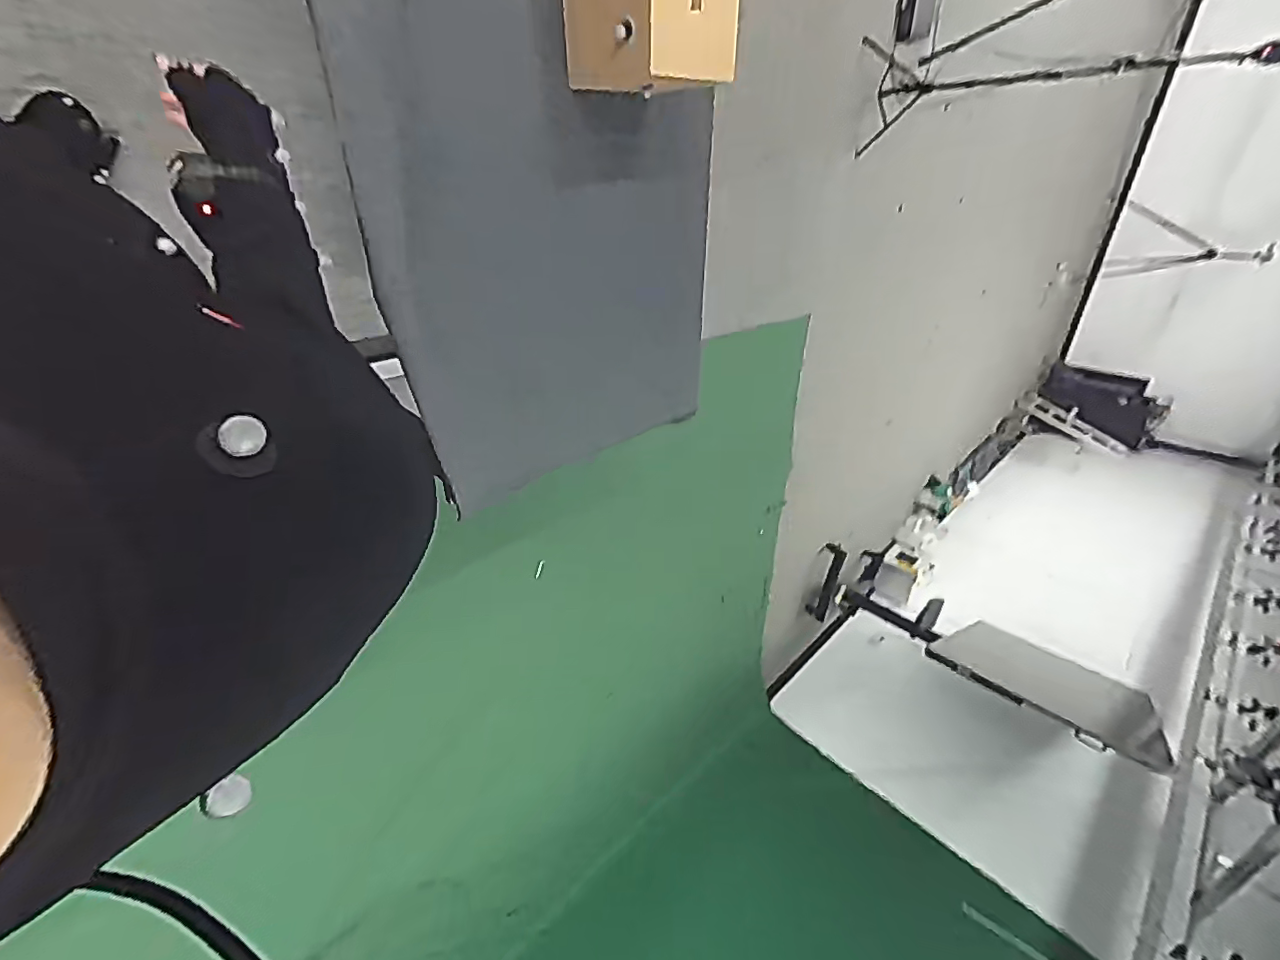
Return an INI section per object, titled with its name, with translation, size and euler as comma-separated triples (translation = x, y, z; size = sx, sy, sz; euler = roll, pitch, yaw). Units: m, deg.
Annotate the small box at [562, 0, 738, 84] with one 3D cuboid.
[small box]
translation = 0.010, -0.630, 0.702
size = 0.168, 0.176, 0.179
euler = -27, 130, -36
